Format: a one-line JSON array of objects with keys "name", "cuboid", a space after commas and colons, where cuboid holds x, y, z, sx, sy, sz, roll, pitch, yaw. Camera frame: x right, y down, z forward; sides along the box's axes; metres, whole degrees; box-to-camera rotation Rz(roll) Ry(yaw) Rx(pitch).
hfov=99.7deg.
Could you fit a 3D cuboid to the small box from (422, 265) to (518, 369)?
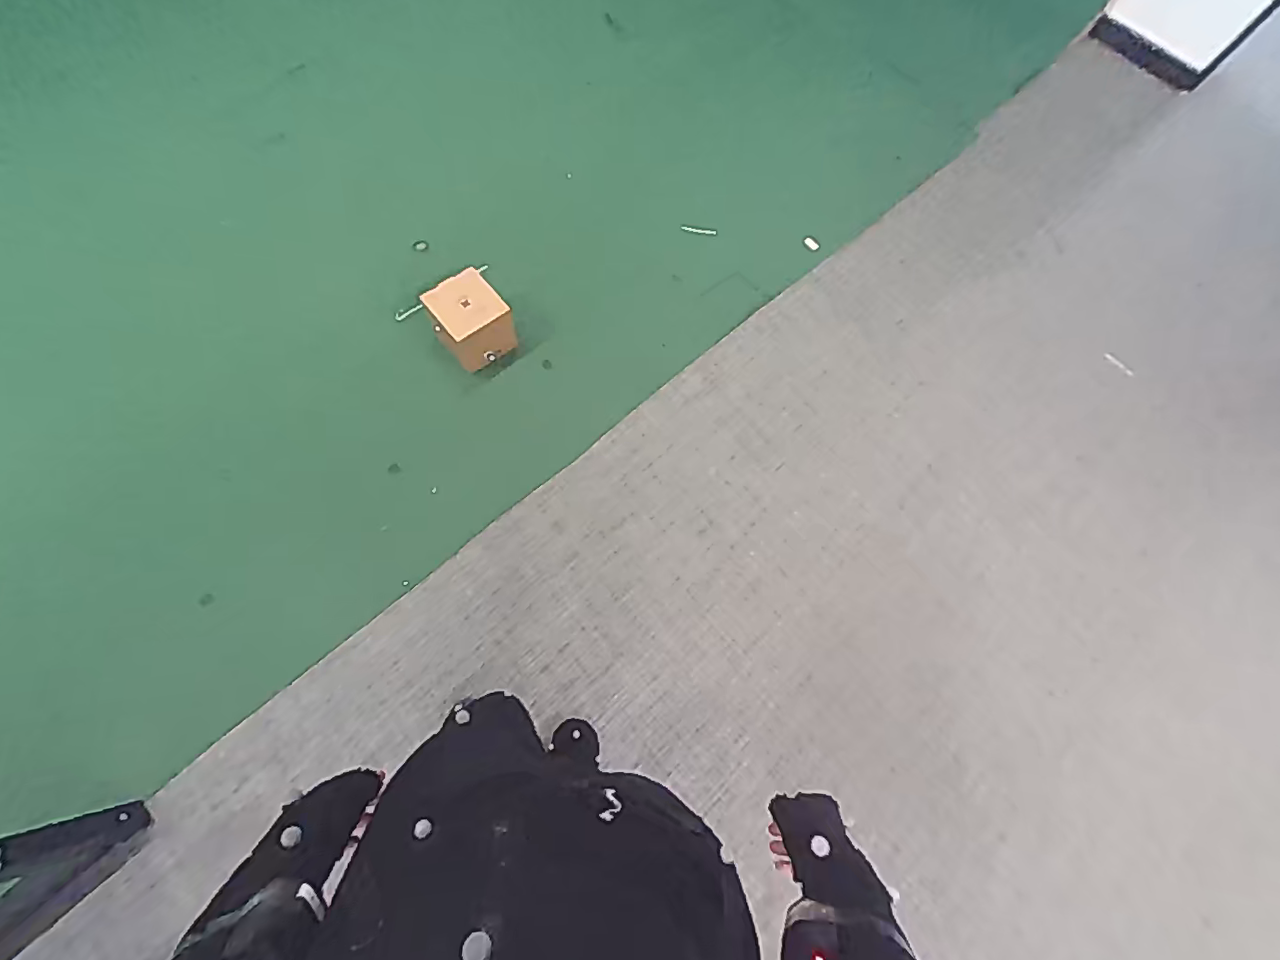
[{"name": "small box", "cuboid": [-0.457, -0.439, 1.477, 0.168, 0.176, 0.179, -39, 79, -15]}]
